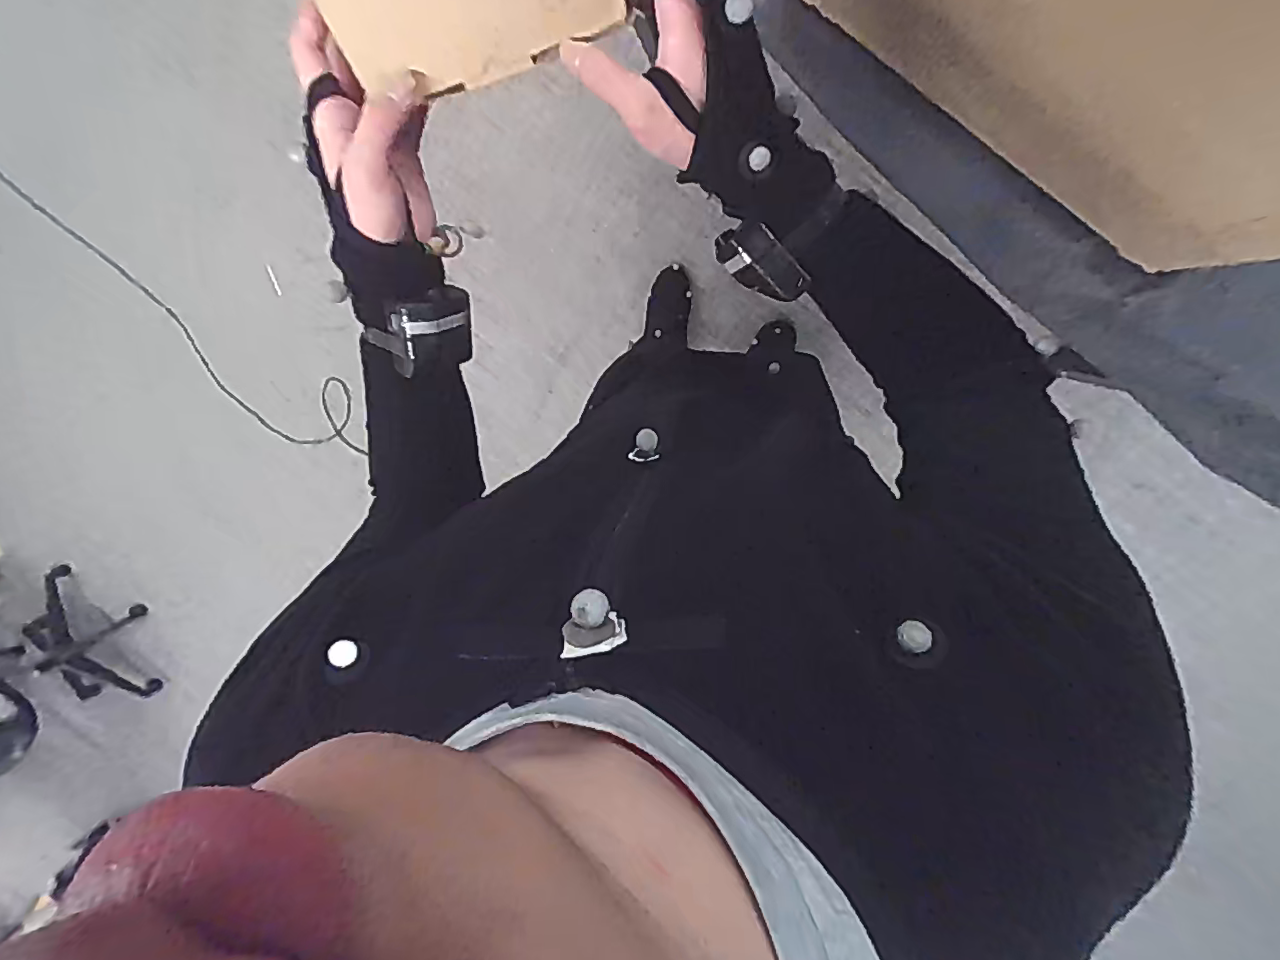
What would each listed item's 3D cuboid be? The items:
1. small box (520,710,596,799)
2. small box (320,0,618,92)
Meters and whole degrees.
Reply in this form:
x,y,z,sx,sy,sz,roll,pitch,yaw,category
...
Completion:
x,y,z,sx,sy,sz,roll,pitch,yaw,category
-0.274,0.941,1.861,0.168,0.176,0.179,39,109,-3,small box
-0.105,-0.362,0.302,0.168,0.176,0.179,-10,136,14,small box
